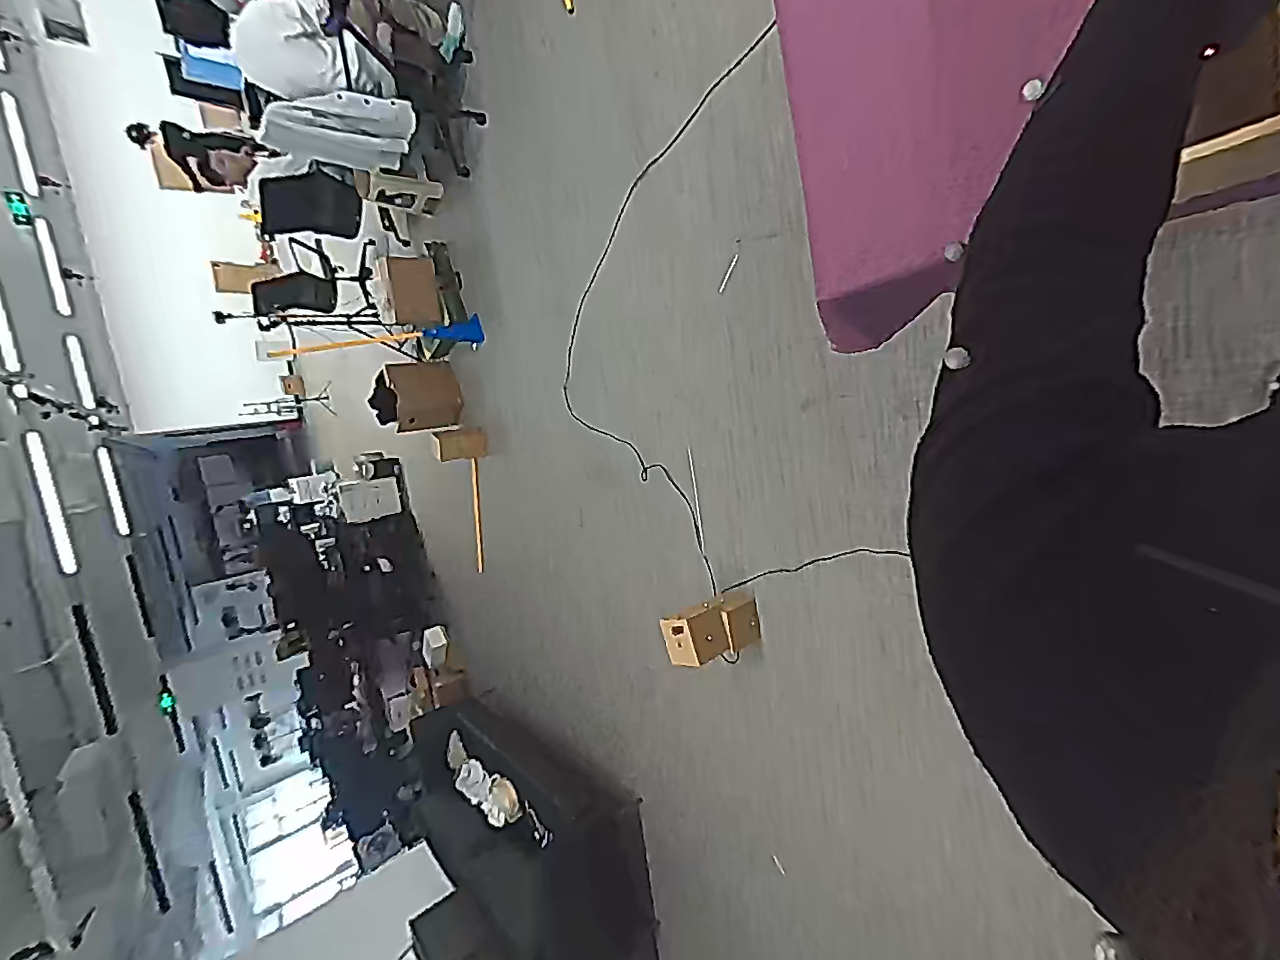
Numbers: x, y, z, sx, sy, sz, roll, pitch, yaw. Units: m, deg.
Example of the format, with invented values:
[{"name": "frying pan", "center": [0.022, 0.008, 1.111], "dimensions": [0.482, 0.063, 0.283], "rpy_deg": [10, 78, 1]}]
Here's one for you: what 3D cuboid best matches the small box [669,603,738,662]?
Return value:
[{"name": "small box", "center": [0.242, 0.572, 2.054], "dimensions": [0.168, 0.176, 0.179], "rpy_deg": [-20, 86, 54]}]
